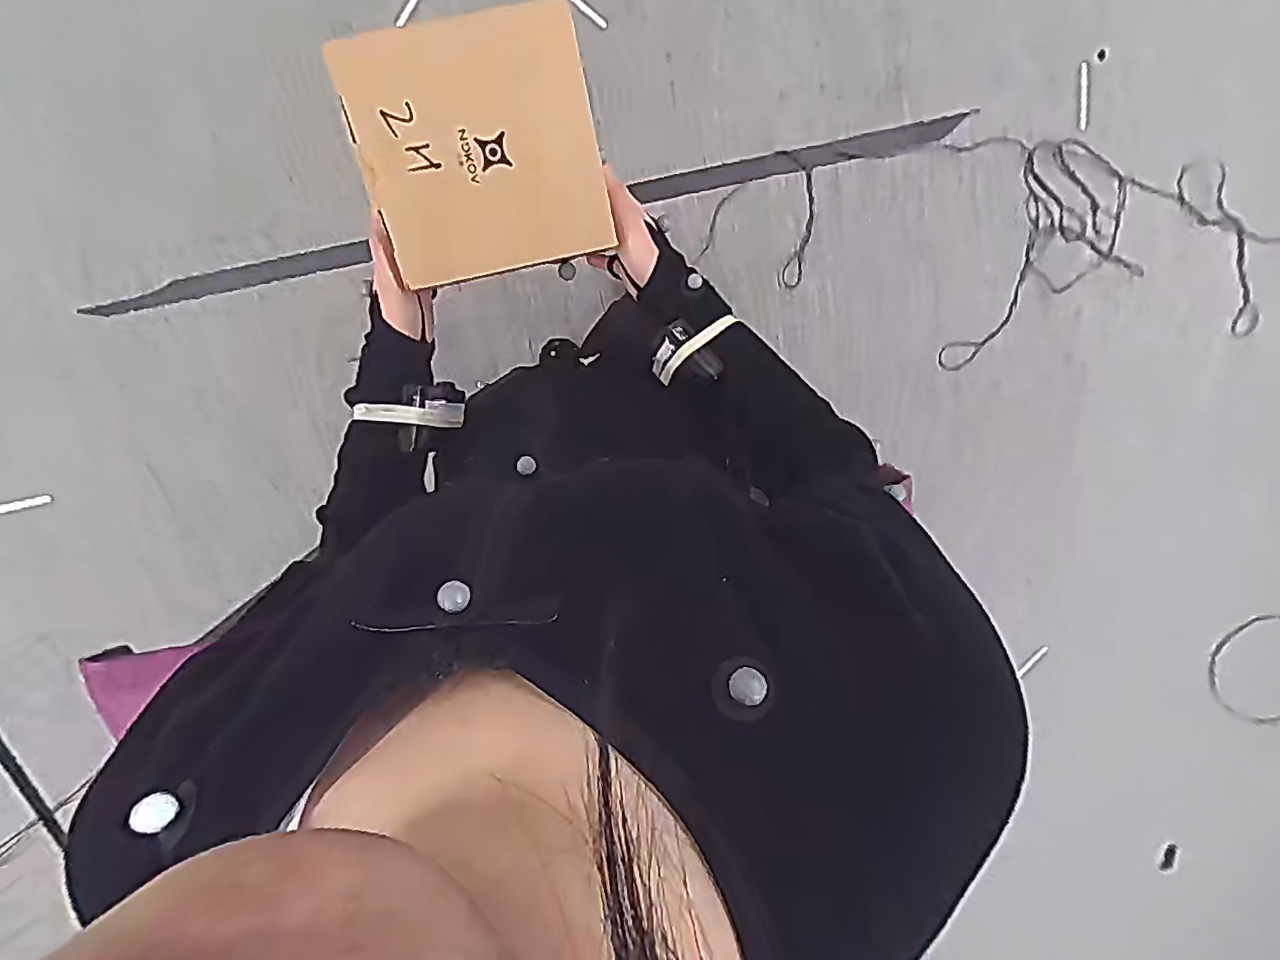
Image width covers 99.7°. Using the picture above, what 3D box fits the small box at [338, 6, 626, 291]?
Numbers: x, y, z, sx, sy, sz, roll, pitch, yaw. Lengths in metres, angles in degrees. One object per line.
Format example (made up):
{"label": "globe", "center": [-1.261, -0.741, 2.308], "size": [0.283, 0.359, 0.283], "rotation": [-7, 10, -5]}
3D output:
{"label": "small box", "center": [-0.121, -0.270, 0.476], "size": [0.179, 0.176, 0.168], "rotation": [-13, 112, -3]}
